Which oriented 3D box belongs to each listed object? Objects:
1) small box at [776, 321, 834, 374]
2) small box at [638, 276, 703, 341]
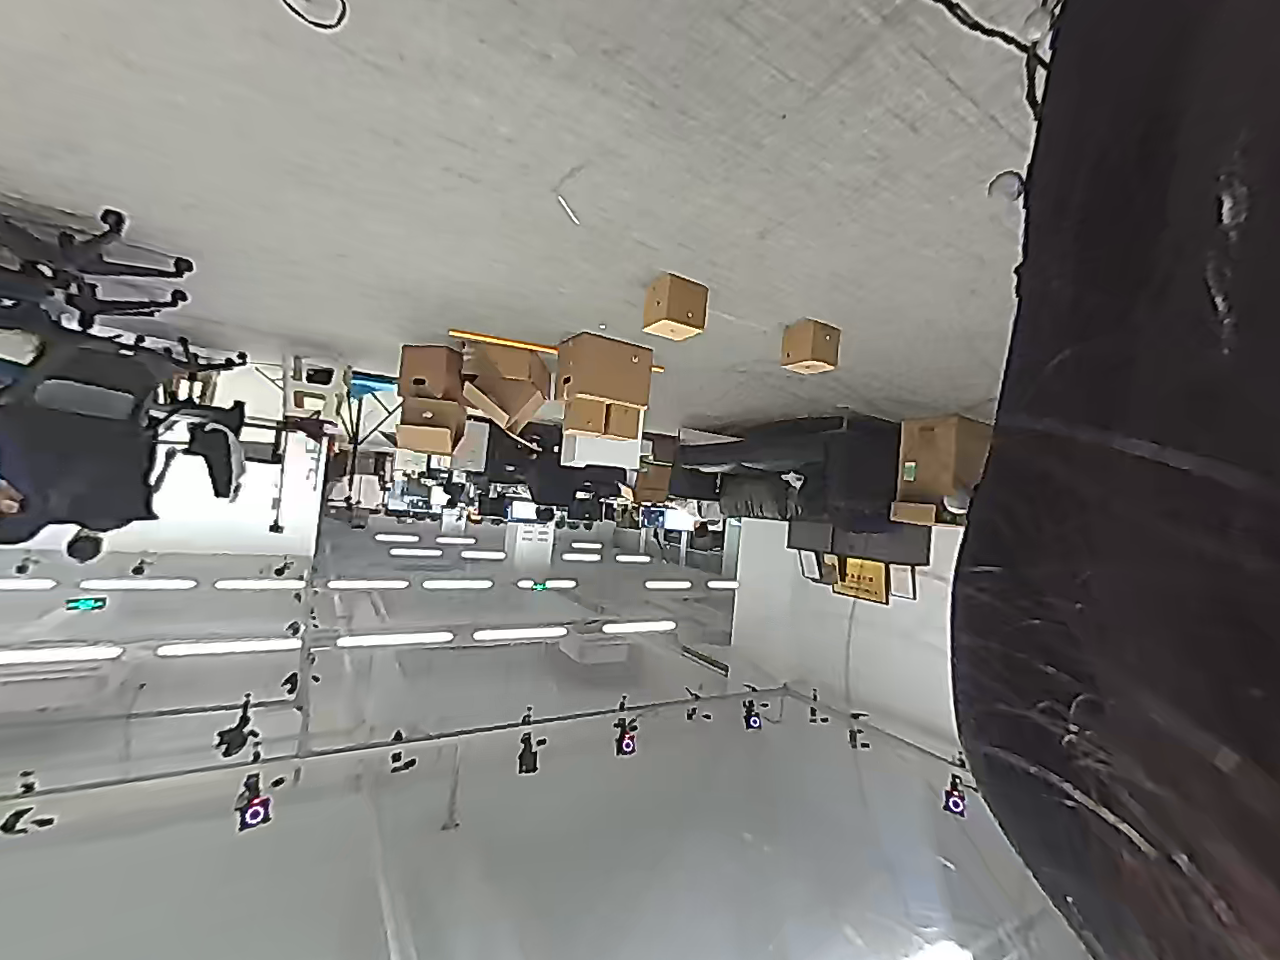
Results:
[{"bbox_3d":[0.706,-0.565,2.309,0.168,0.176,0.179,6,178,-31],"label":"small box"},{"bbox_3d":[0.111,-0.625,1.974,0.179,0.176,0.168,5,177,-31],"label":"small box"}]
